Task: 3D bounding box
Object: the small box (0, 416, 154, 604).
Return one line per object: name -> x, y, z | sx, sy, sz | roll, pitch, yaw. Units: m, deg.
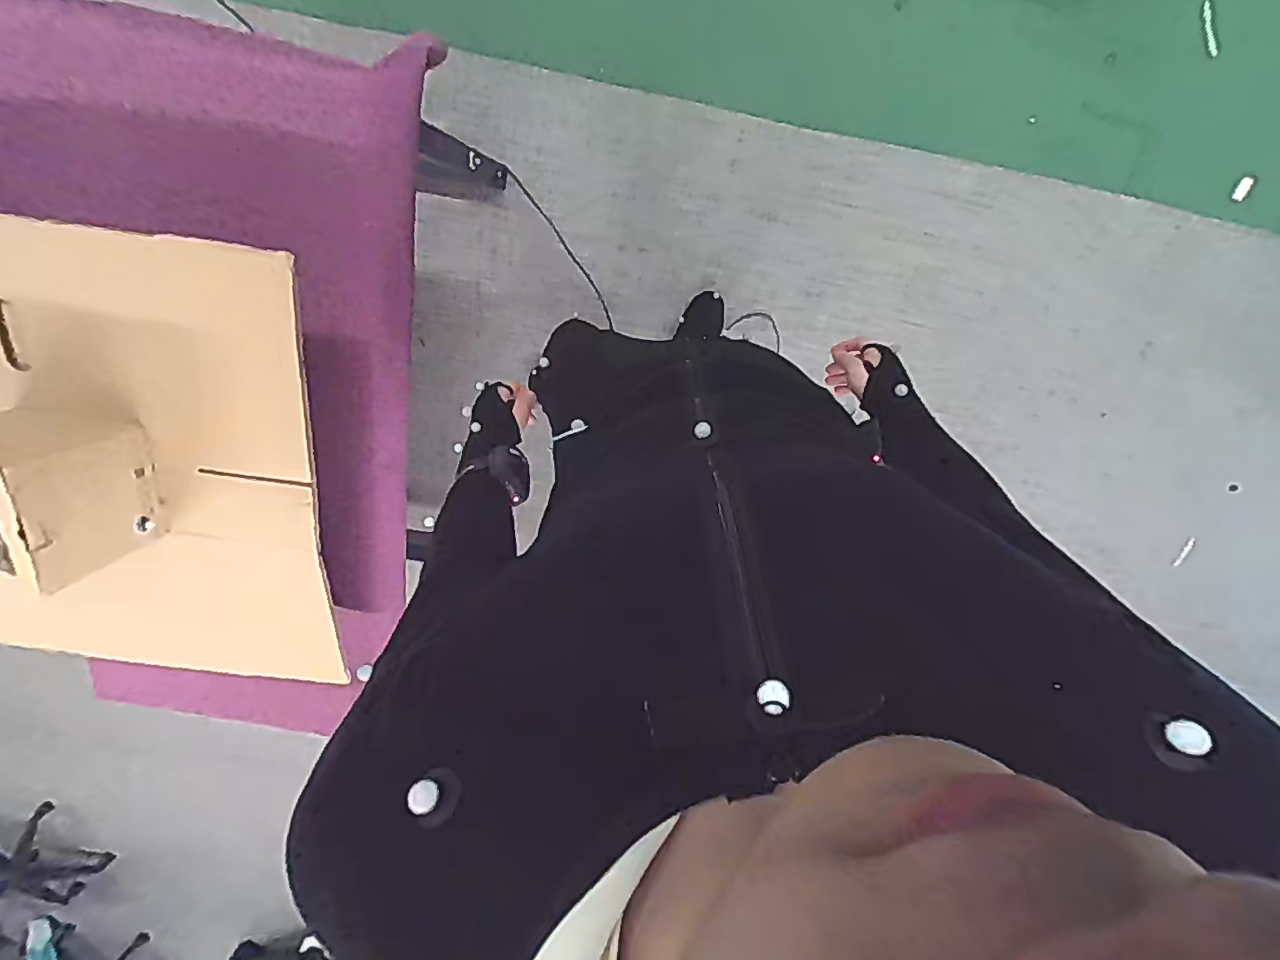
small box -> -0.748, 0.027, 0.659 | 0.179, 0.176, 0.168 | 8, 110, 0
